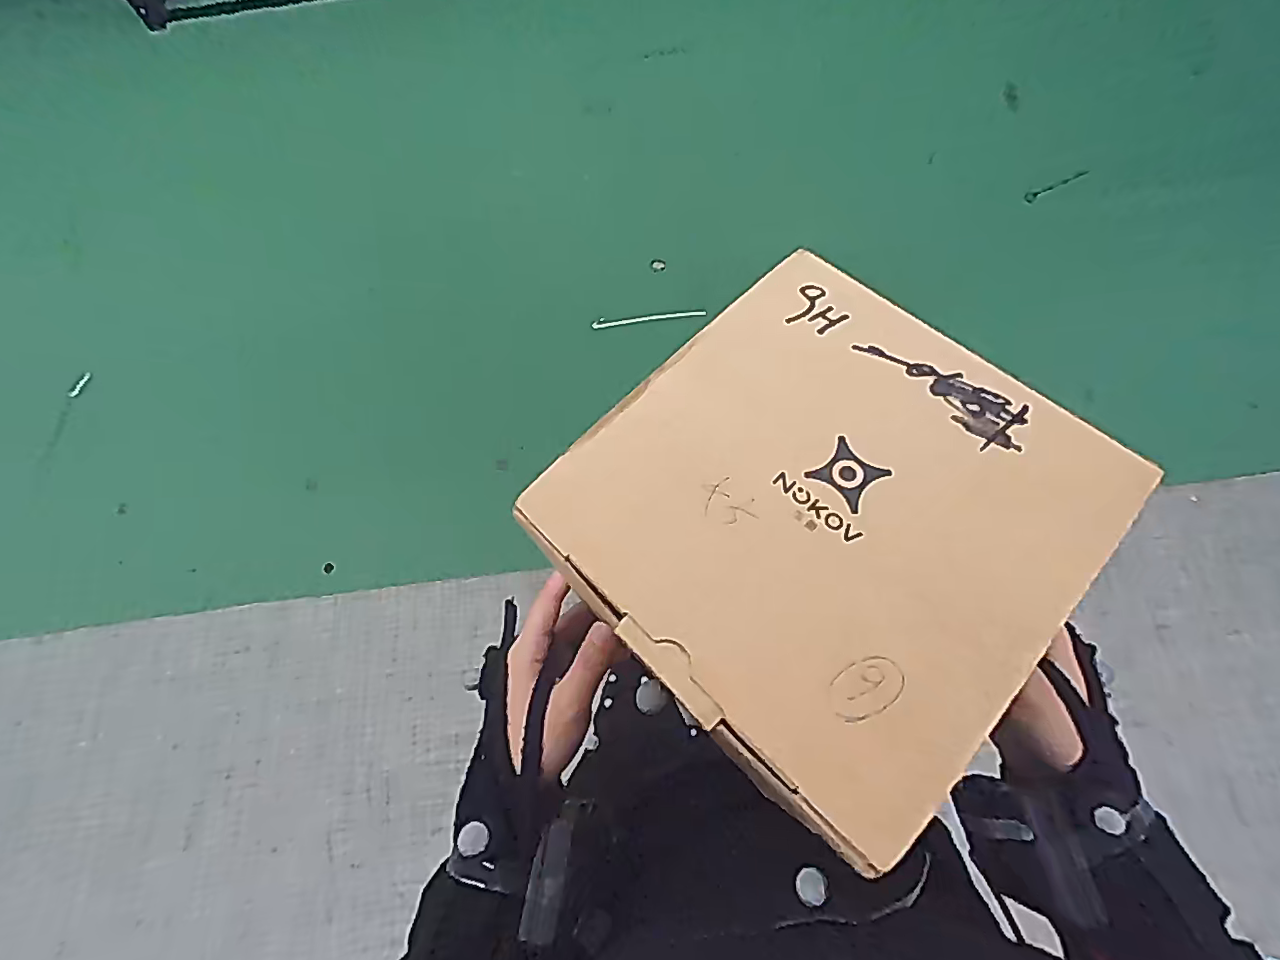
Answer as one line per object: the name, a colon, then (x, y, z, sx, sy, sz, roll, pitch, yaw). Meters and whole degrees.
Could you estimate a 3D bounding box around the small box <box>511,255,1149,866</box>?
small box: (0.072, 0.037, 0.272, 0.179, 0.176, 0.168, -43, 71, -14)
